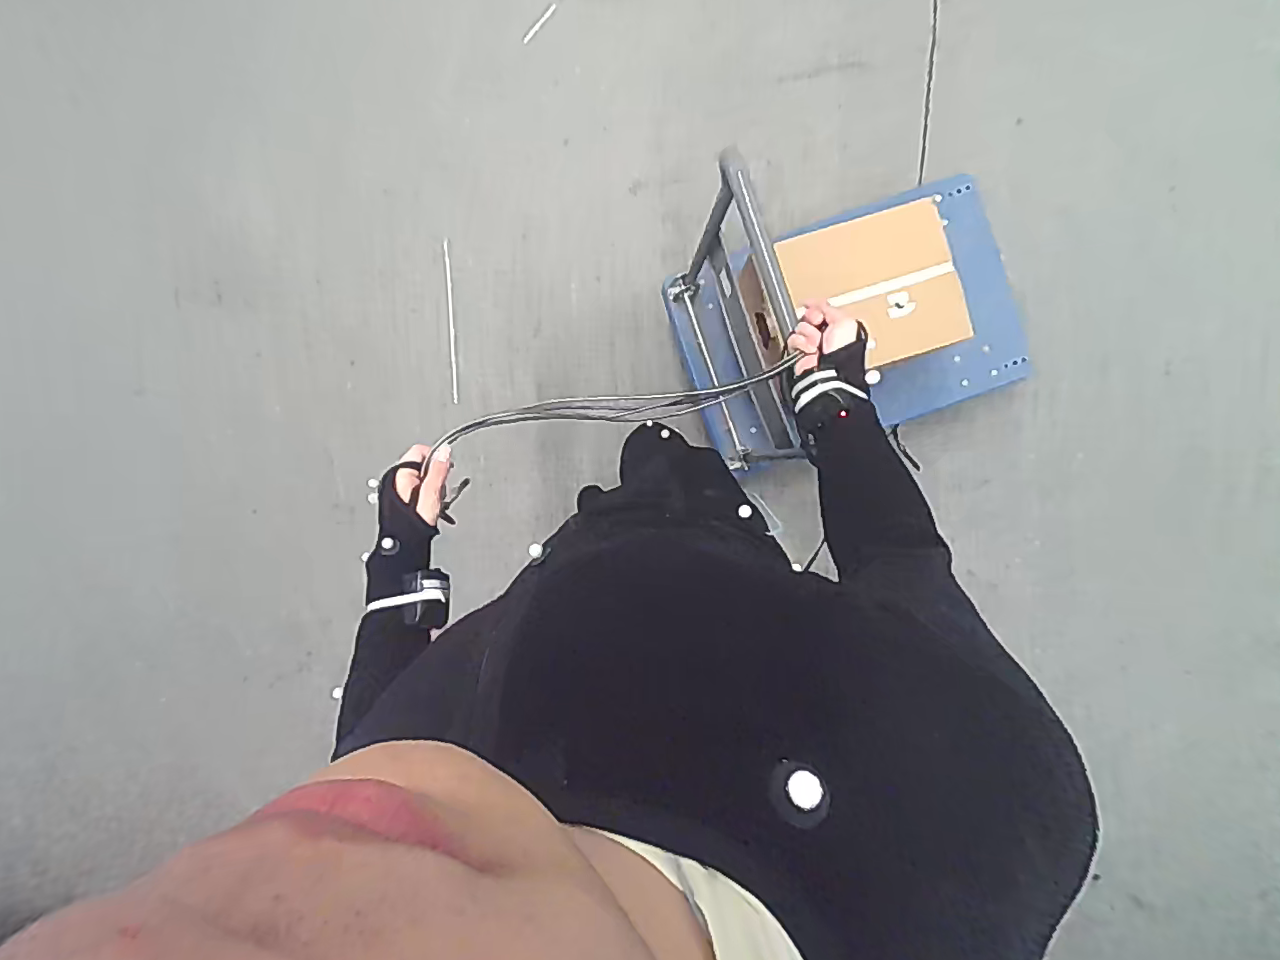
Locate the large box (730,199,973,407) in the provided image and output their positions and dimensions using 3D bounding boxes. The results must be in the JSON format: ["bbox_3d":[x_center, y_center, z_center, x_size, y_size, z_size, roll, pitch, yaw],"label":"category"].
[{"bbox_3d":[0.470,-0.390,1.285,0.408,0.320,0.320,-17,92,0],"label":"large box"}]
